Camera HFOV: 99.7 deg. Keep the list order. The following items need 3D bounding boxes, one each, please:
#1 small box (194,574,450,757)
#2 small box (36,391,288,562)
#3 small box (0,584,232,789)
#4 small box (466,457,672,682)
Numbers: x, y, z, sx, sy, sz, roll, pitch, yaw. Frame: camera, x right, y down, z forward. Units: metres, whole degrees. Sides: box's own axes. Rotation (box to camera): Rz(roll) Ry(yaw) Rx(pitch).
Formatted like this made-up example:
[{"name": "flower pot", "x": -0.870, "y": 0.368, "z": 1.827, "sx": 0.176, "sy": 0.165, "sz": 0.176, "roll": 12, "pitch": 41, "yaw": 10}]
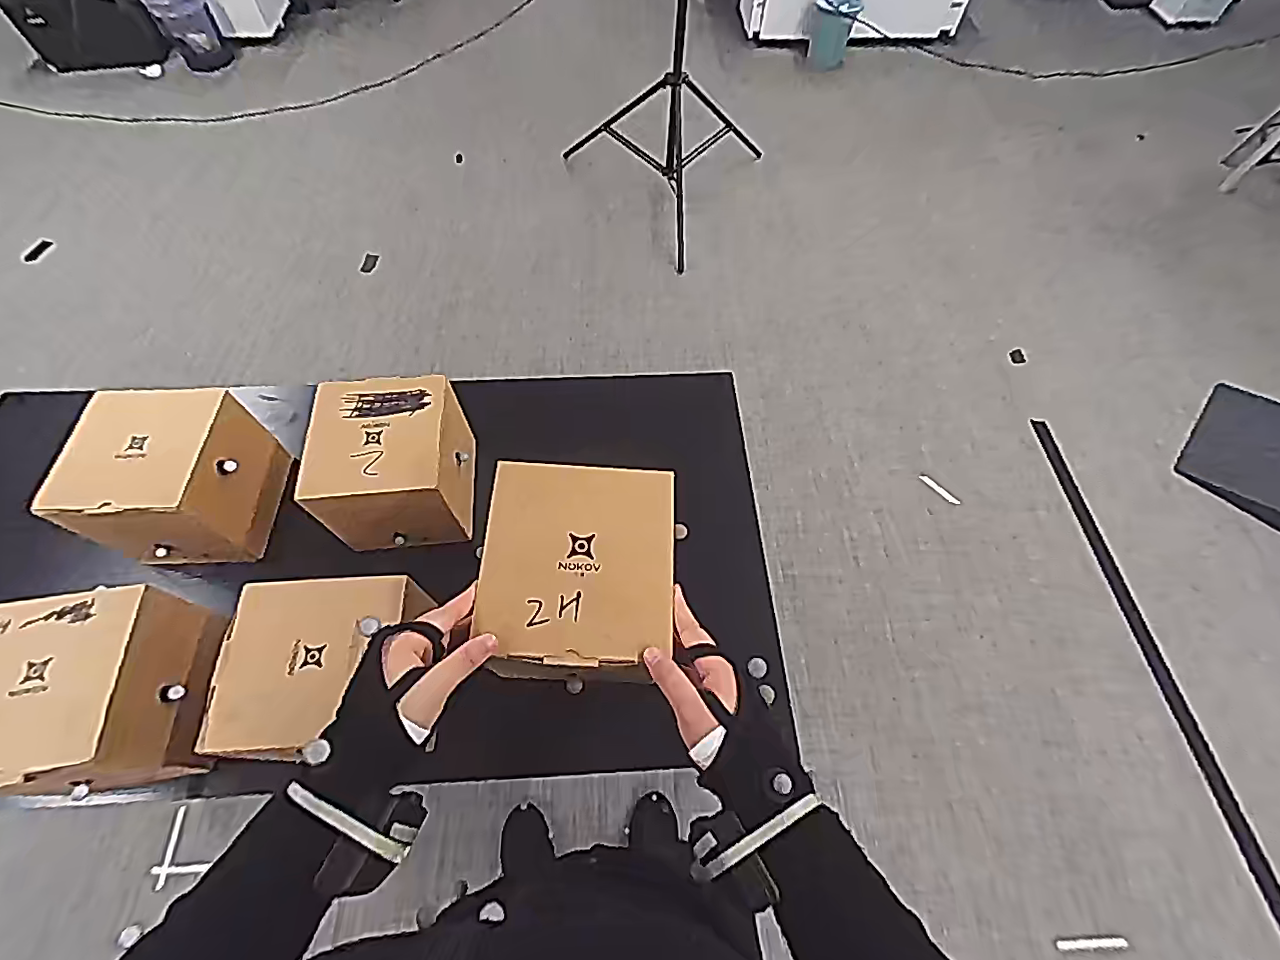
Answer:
[{"name": "small box", "x": -0.336, "y": 0.216, "z": 0.616, "sx": 0.179, "sy": 0.176, "sz": 0.168, "roll": -2, "pitch": 61, "yaw": -3}, {"name": "small box", "x": -0.618, "y": -0.001, "z": 0.733, "sx": 0.168, "sy": 0.176, "sz": 0.179, "roll": -1, "pitch": 61, "yaw": -2}, {"name": "small box", "x": -0.593, "y": 0.234, "z": 0.600, "sx": 0.168, "sy": 0.176, "sz": 0.179, "roll": -8, "pitch": 61, "yaw": -6}, {"name": "small box", "x": -0.061, "y": 0.097, "z": 0.542, "sx": 0.168, "sy": 0.176, "sz": 0.179, "roll": 3, "pitch": 63, "yaw": -2}]
